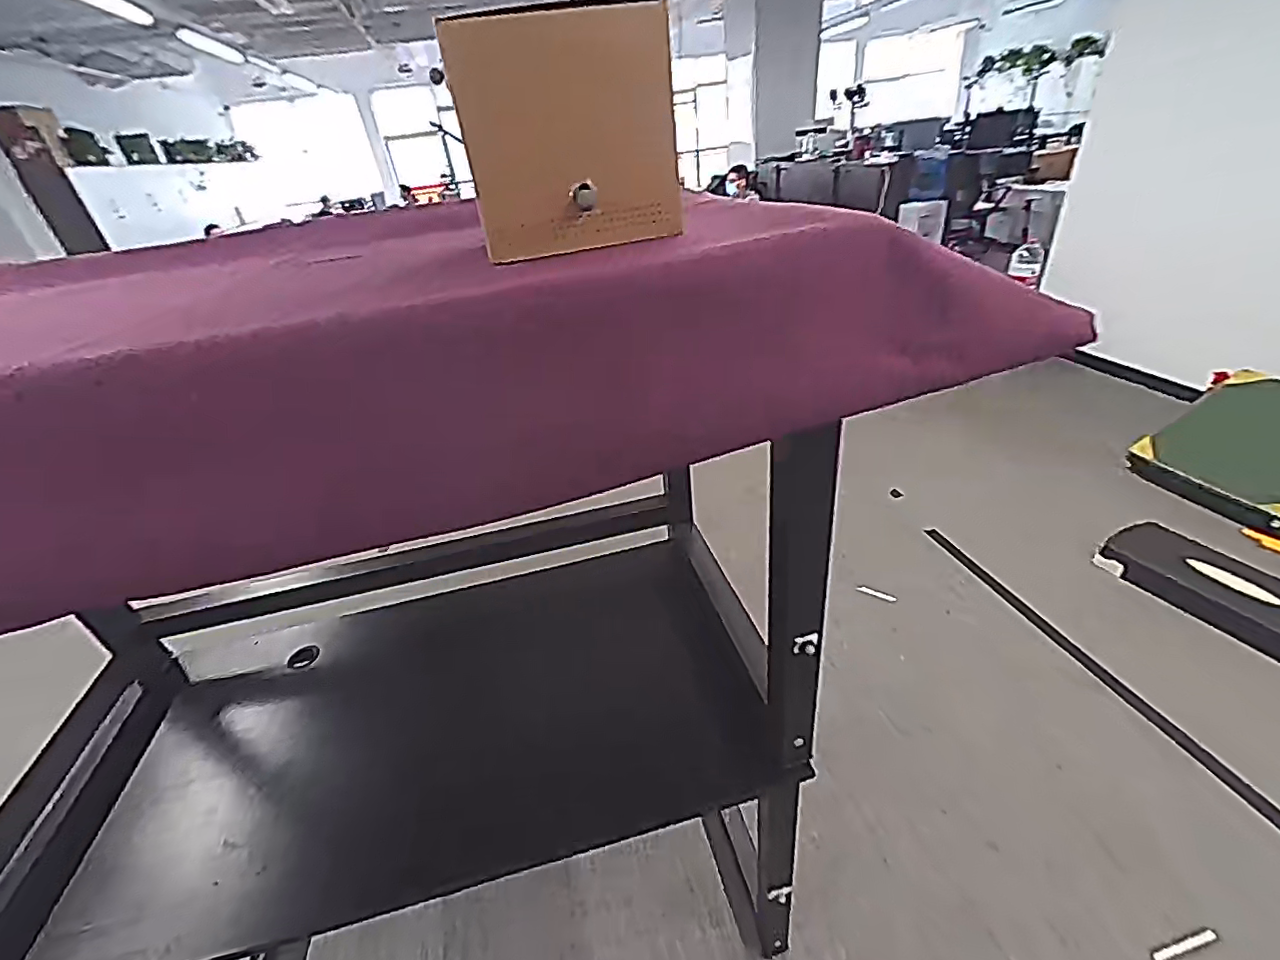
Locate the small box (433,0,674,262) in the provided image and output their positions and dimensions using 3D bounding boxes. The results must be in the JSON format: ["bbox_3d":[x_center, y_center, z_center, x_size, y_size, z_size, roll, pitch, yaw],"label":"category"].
[{"bbox_3d":[-0.072,-0.310,0.496,0.179,0.176,0.168,-14,31,-10],"label":"small box"}]
